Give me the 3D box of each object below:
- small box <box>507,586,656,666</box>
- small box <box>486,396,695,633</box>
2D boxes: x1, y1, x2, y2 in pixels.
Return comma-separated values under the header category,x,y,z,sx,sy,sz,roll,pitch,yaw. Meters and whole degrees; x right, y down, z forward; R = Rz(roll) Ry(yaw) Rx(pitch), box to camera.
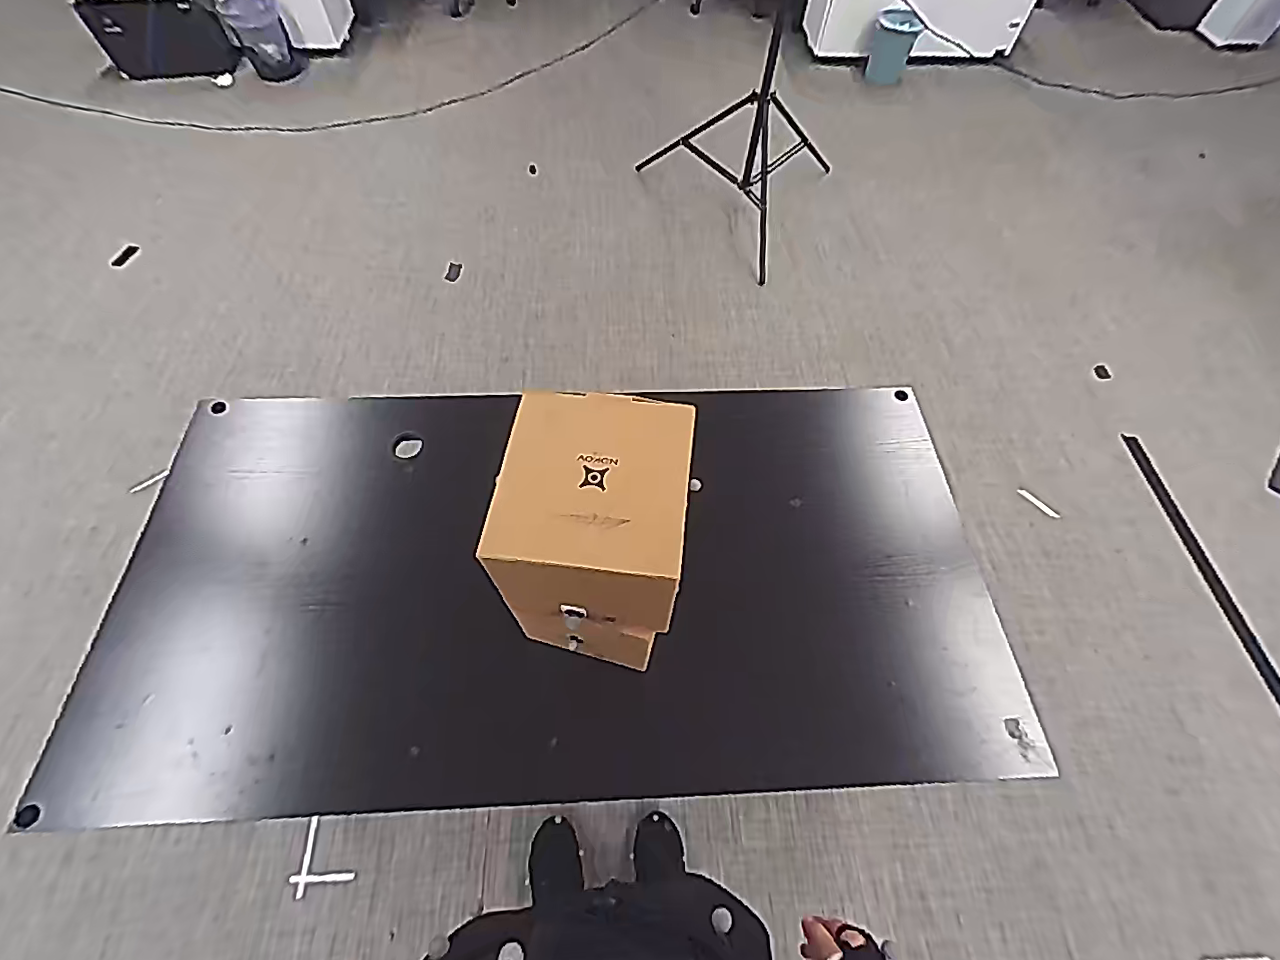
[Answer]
category,x,y,z,sx,sy,sz,roll,pitch,yaw
small box,-0.047,0.121,0.691,0.168,0.176,0.179,14,60,6
small box,-0.039,0.040,0.550,0.168,0.176,0.179,5,61,3
